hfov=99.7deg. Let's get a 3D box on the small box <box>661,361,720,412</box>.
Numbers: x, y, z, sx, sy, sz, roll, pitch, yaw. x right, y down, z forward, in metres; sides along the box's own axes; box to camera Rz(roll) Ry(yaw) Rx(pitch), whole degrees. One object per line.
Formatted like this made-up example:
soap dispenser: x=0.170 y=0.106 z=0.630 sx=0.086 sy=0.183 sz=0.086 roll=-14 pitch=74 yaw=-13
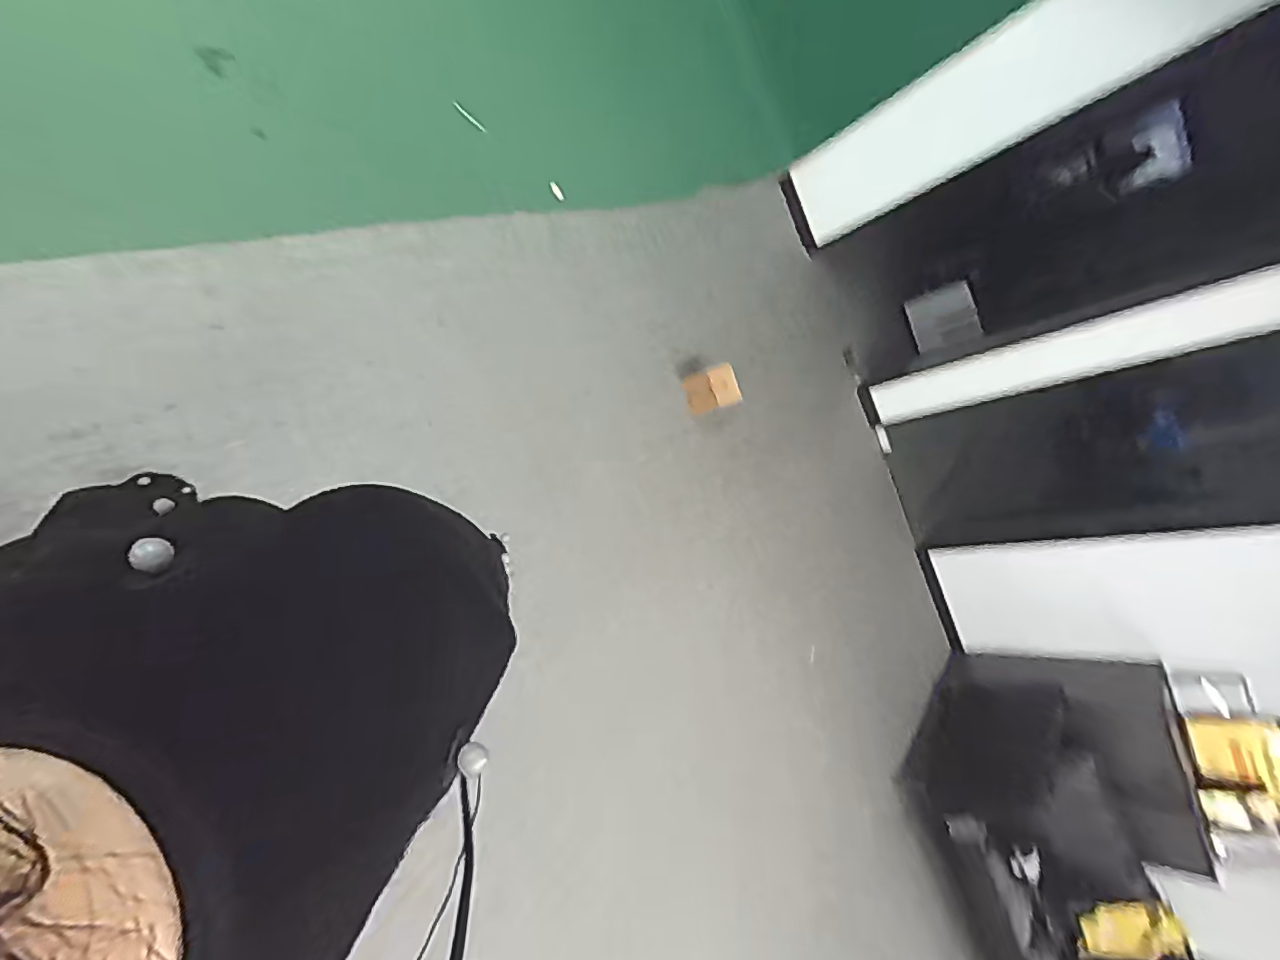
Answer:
small box: x=0.222 y=-0.415 z=2.399 sx=0.179 sy=0.176 sz=0.168 roll=-26 pitch=99 yaw=-44
